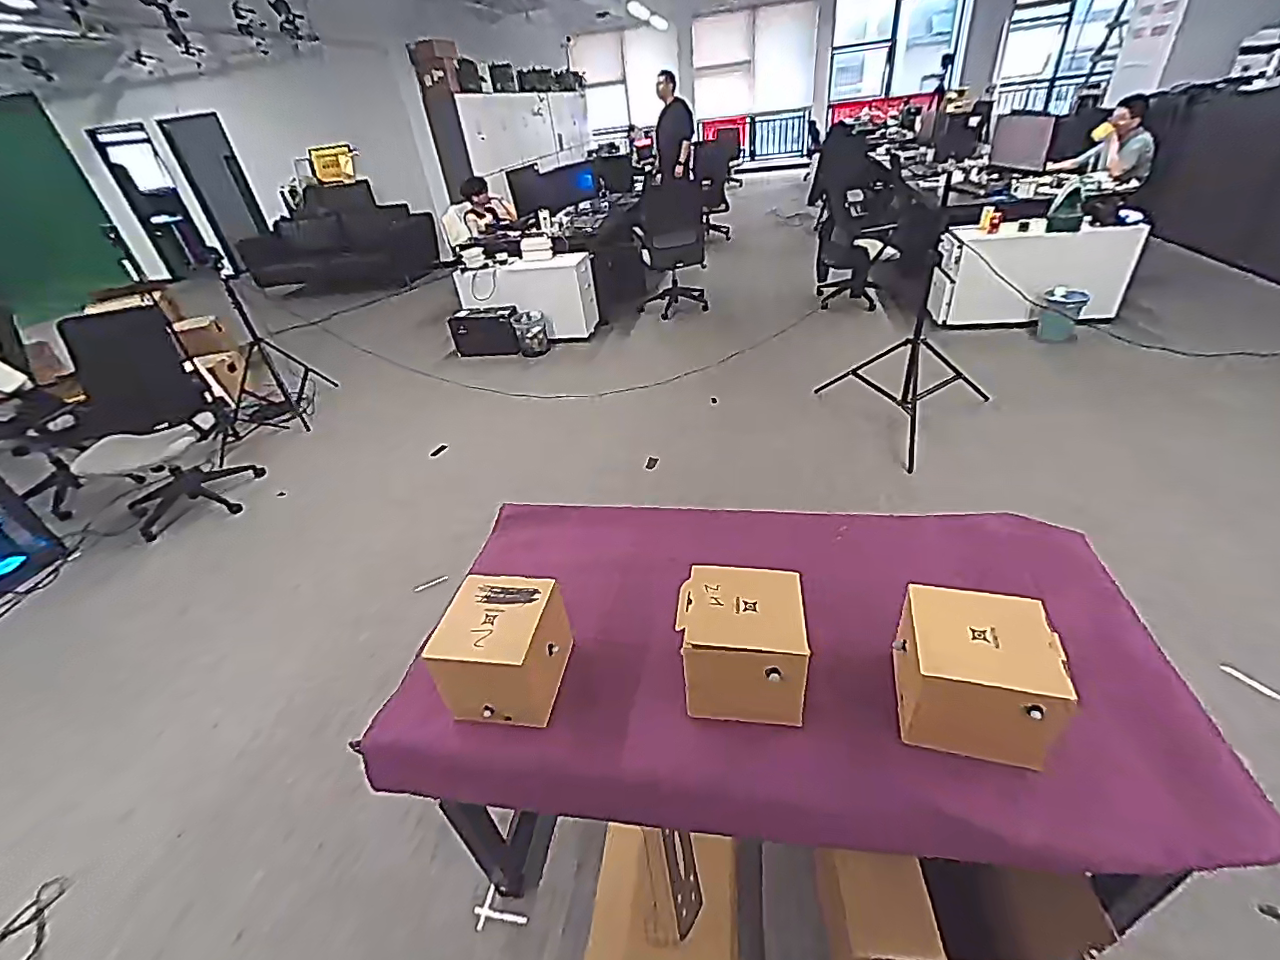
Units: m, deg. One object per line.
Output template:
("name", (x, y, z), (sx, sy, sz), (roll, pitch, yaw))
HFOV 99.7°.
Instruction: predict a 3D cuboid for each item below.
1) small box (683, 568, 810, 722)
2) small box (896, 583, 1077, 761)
("small box", (0.166, 0.260, 0.856), (0.179, 0.176, 0.168), (0, 33, 11))
("small box", (0.475, 0.274, 0.778), (0.179, 0.176, 0.168), (4, 36, 17))
